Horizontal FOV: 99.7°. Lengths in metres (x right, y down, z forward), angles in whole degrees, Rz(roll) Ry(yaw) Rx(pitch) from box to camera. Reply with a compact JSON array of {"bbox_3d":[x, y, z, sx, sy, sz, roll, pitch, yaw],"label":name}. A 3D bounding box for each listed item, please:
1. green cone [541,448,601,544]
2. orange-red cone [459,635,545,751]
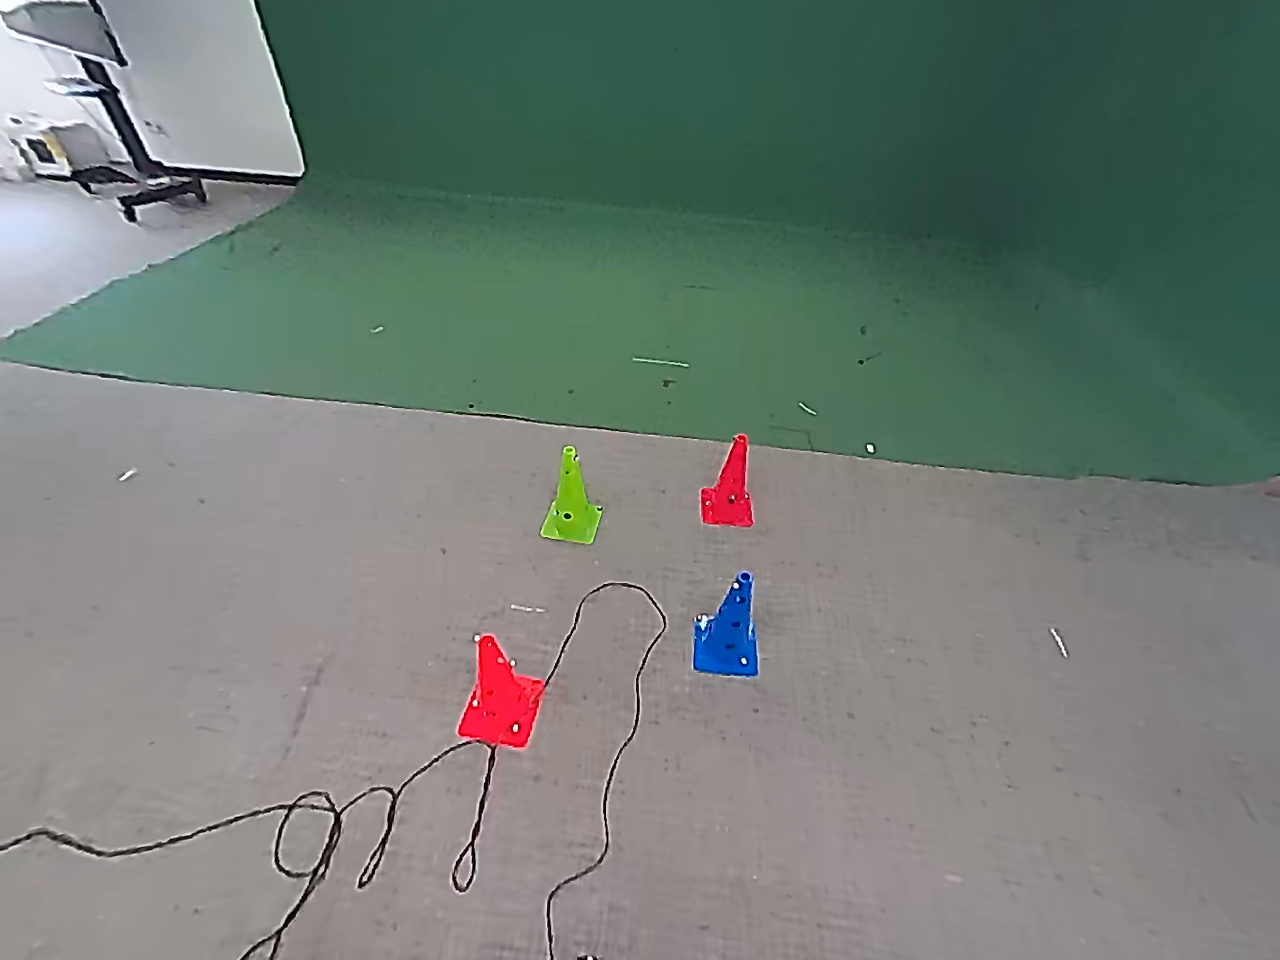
[{"bbox_3d":[-0.253,0.032,1.938,0.200,0.368,0.202,7,43,4],"label":"green cone"},{"bbox_3d":[-0.371,0.515,1.402,0.198,0.360,0.199,10,41,5],"label":"orange-red cone"}]
